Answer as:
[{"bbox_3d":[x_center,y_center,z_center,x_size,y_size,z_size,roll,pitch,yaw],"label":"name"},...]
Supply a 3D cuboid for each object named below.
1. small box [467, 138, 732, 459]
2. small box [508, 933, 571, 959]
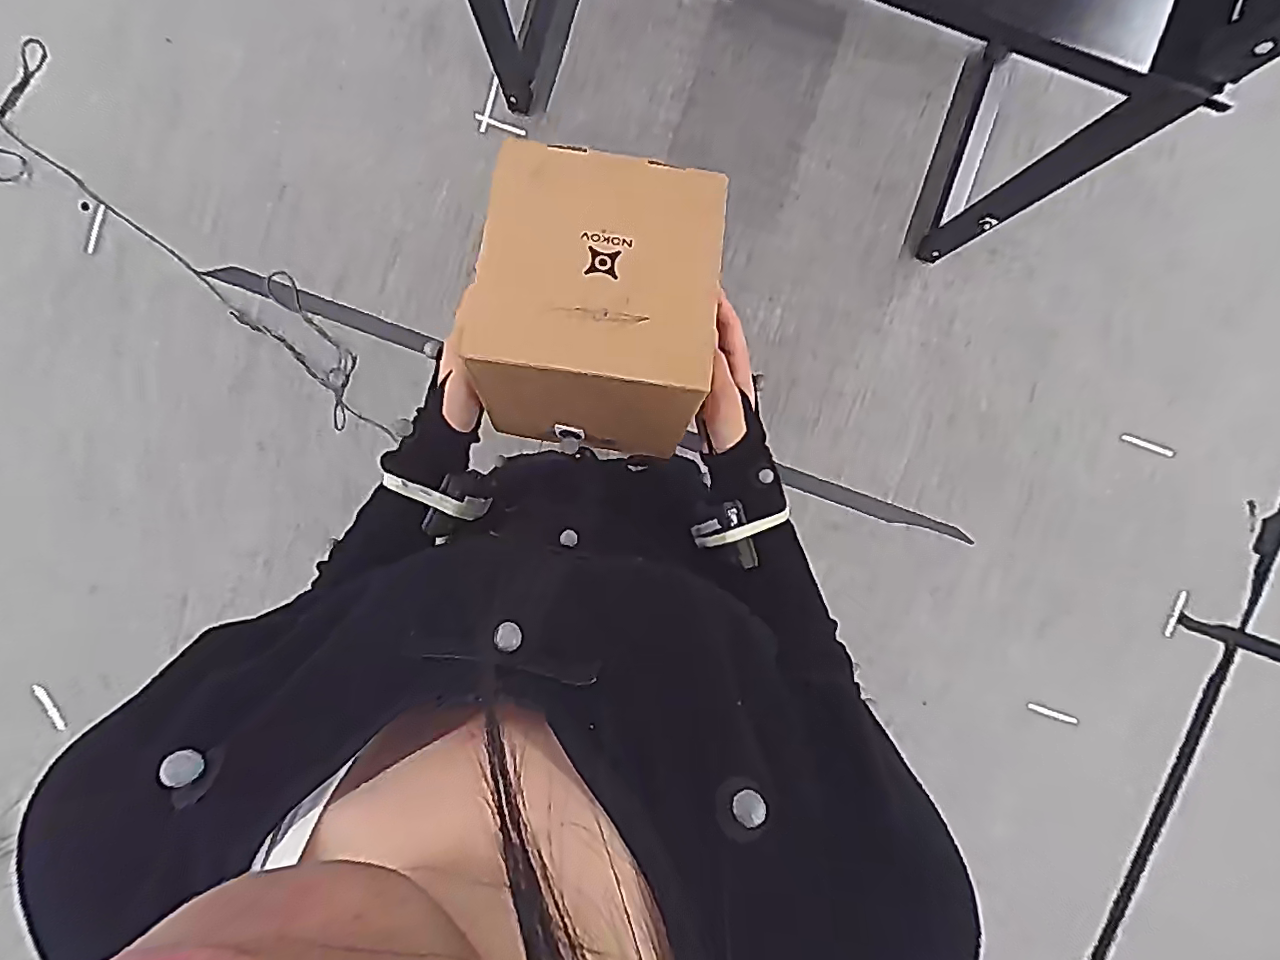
[{"bbox_3d":[-0.030,-0.131,0.446,0.168,0.176,0.179,7,76,-4],"label":"small box"},{"bbox_3d":[-0.293,1.426,1.521,0.179,0.176,0.168,7,94,-3],"label":"small box"}]
